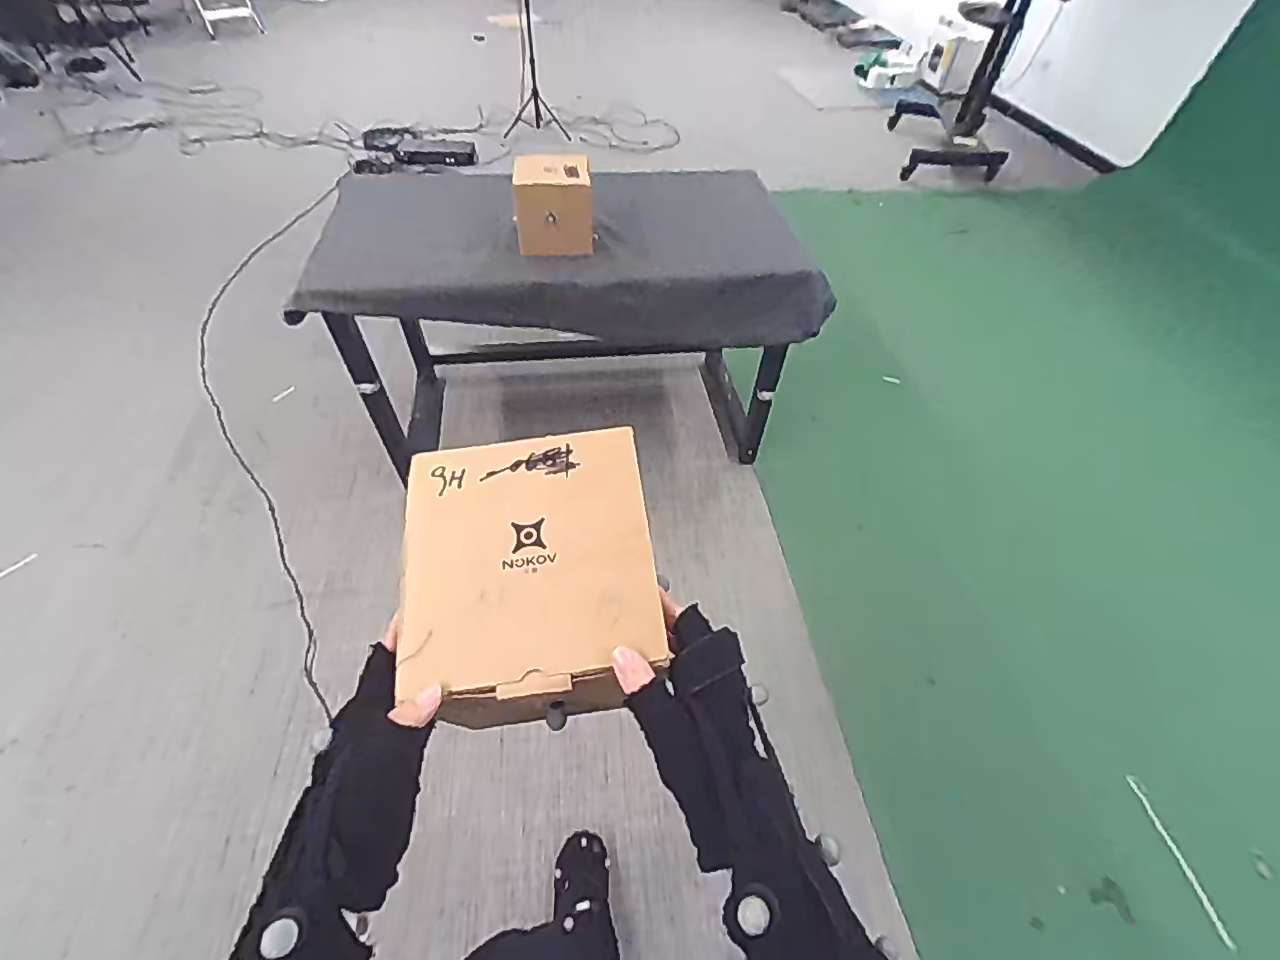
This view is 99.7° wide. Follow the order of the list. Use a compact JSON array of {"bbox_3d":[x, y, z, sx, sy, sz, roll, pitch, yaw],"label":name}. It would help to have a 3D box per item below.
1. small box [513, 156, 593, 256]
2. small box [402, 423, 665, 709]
[{"bbox_3d":[-0.204,-0.659,1.309,0.179,0.176,0.168,-3,50,-5],"label":"small box"},{"bbox_3d":[-0.072,0.080,0.435,0.168,0.176,0.179,-8,62,-3],"label":"small box"}]
